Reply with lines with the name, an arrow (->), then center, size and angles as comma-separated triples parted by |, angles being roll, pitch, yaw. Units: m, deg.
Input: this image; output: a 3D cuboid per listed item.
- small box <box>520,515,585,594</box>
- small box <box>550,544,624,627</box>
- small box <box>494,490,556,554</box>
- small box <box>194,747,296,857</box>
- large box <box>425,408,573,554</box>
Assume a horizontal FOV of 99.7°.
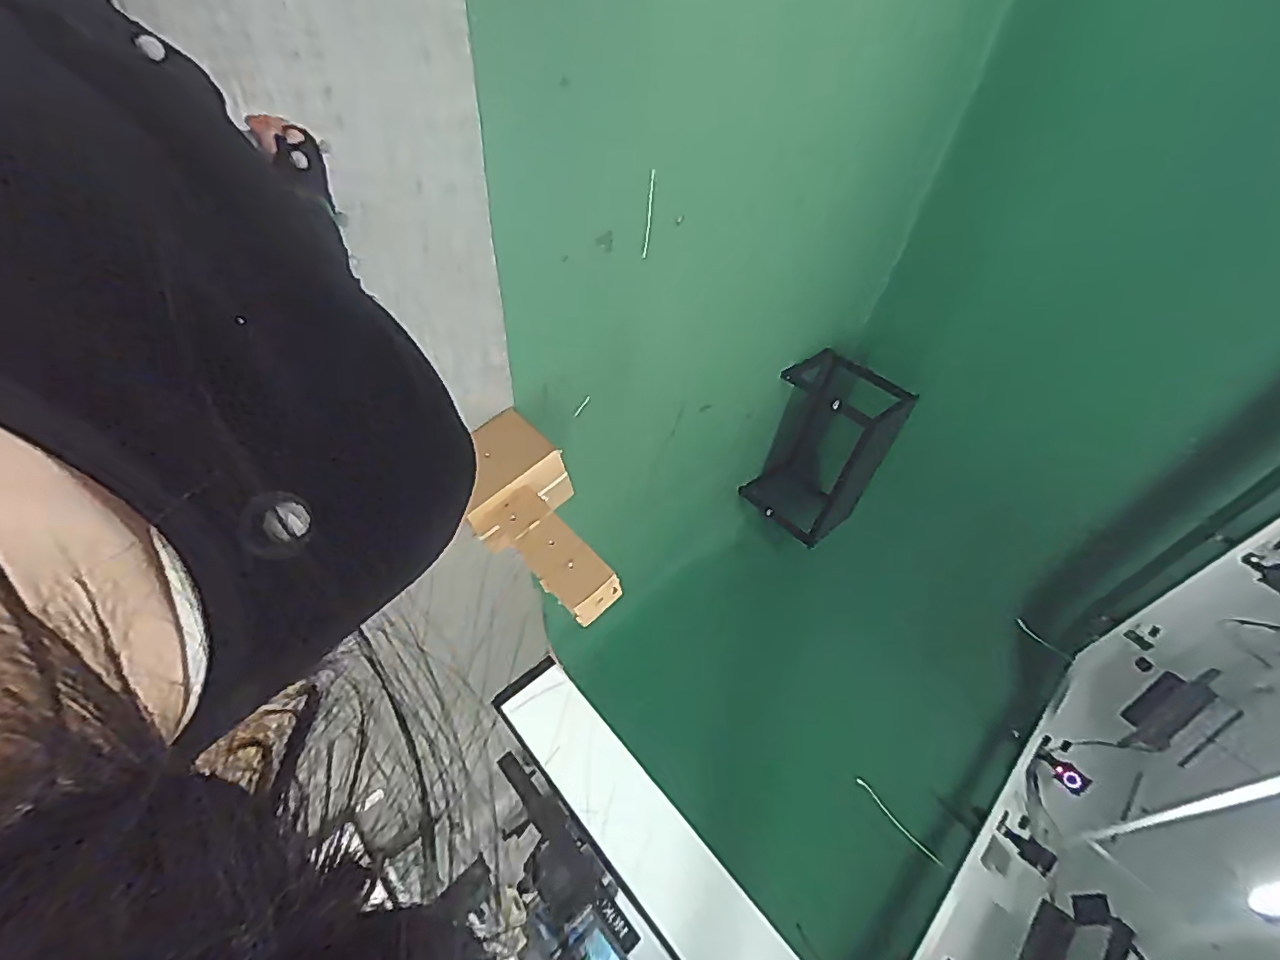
small box -> -0.294, 0.256, 1.875 | 0.179, 0.176, 0.168 | -40, 150, -18
small box -> -0.181, 0.350, 1.800 | 0.179, 0.176, 0.168 | -38, 150, -18
small box -> -0.401, 0.159, 1.951 | 0.168, 0.176, 0.179 | -39, 150, -19
small box -> -1.087, 0.867, 1.483 | 0.168, 0.176, 0.179 | 2, 125, -56
large box -> -0.533, 0.002, 2.090 | 0.408, 0.320, 0.320 | -41, 152, -19
